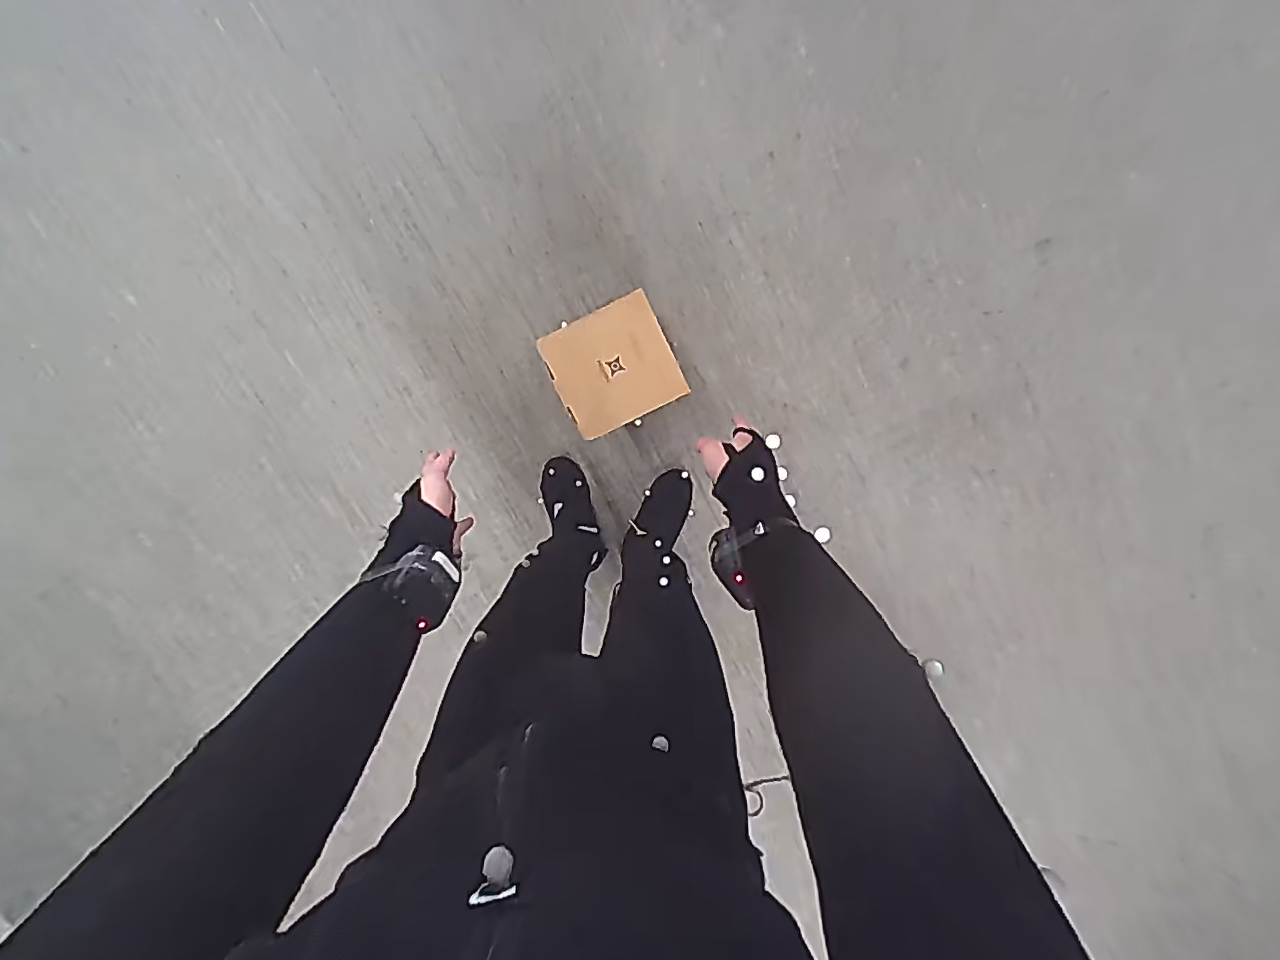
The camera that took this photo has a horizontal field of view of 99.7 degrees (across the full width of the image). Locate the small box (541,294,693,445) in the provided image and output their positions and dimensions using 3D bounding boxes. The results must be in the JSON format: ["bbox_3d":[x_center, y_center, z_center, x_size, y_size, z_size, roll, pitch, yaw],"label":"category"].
[{"bbox_3d":[-0.032,-0.173,0.865,0.179,0.176,0.168,-27,101,5],"label":"small box"}]
